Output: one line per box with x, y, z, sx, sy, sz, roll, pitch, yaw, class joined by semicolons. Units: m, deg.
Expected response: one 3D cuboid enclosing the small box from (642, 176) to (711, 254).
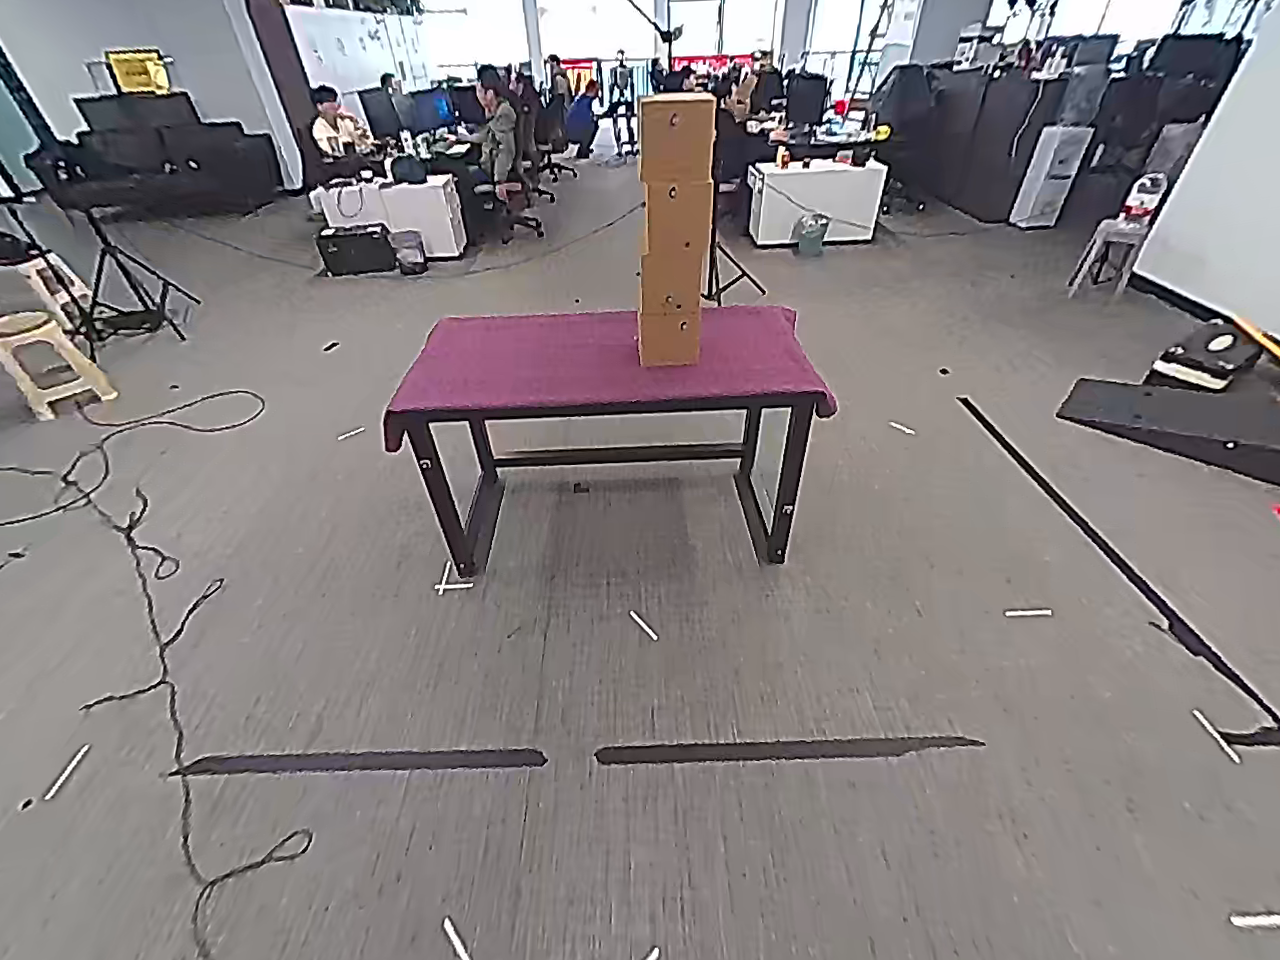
0.092;-0.710;1.433;0.168;0.176;0.179;-4;39;-1;small box

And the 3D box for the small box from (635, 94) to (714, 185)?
0.079;-0.843;1.339;0.179;0.176;0.168;-4;40;-2;small box

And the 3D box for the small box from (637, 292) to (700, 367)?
0.083;-0.455;1.640;0.179;0.176;0.168;-4;39;-1;small box
